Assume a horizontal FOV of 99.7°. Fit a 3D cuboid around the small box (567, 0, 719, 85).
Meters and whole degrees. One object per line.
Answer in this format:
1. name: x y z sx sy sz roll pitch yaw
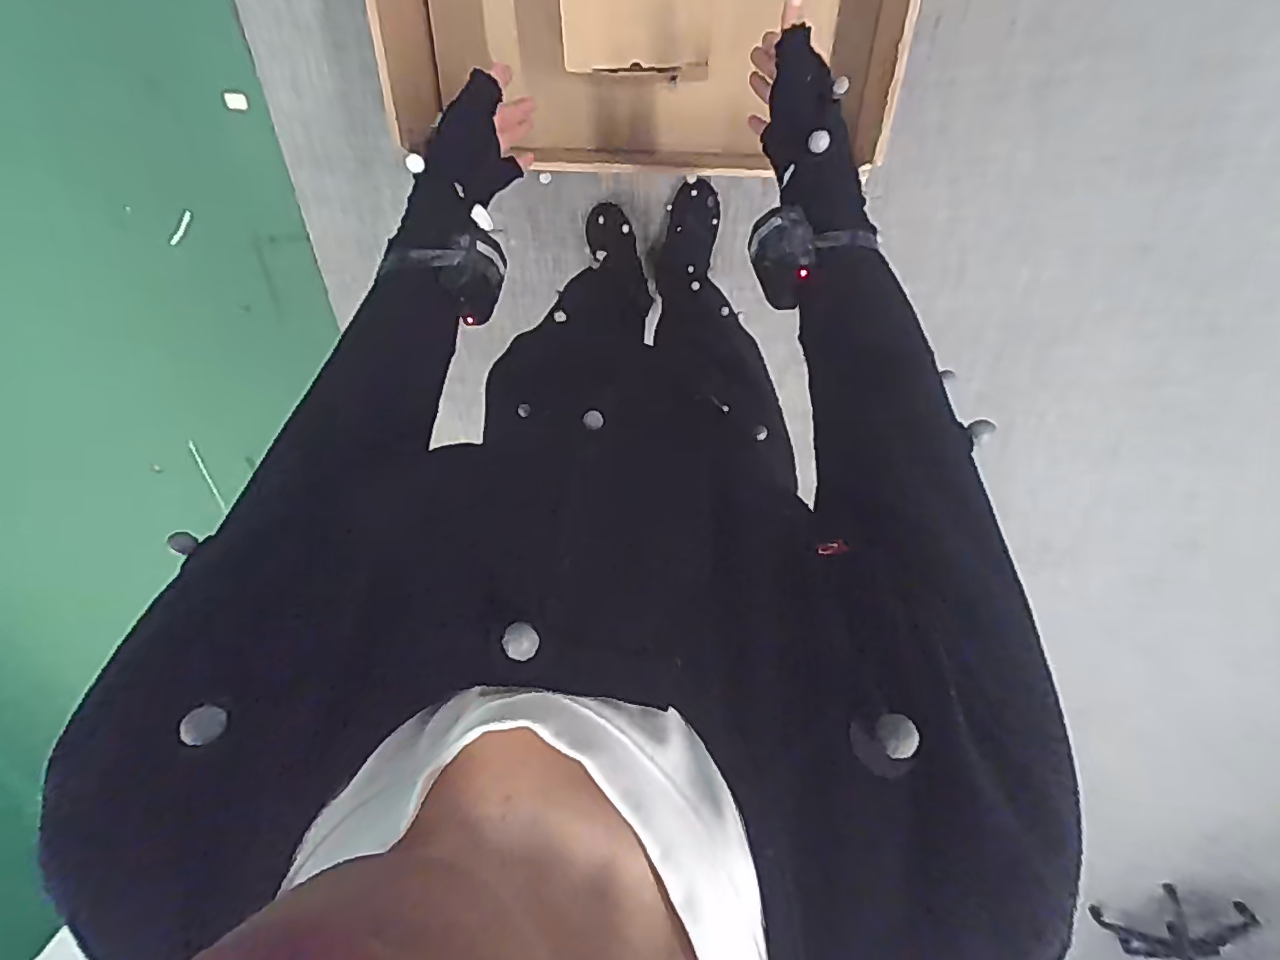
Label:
1. small box: 0.010 -0.576 0.635 0.168 0.176 0.179 2 122 6
